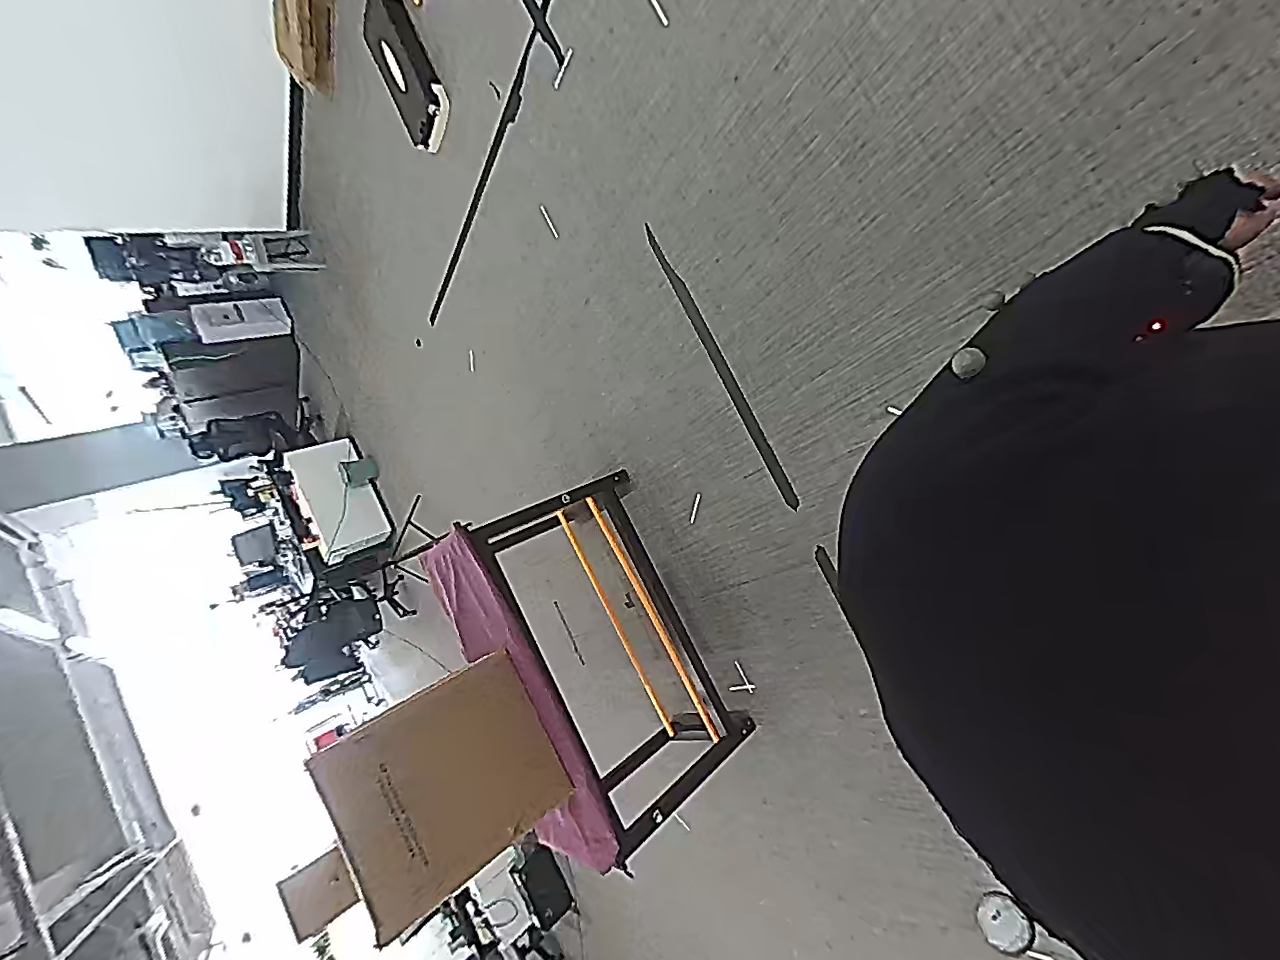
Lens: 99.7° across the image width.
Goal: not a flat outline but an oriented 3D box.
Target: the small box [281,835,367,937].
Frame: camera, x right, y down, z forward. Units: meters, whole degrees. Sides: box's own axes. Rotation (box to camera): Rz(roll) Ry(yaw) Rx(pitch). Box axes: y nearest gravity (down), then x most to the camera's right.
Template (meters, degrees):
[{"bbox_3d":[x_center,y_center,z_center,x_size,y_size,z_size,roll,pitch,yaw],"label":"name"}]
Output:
[{"bbox_3d":[-0.934,1.199,1.597,0.168,0.176,0.179,-36,78,51],"label":"small box"}]
